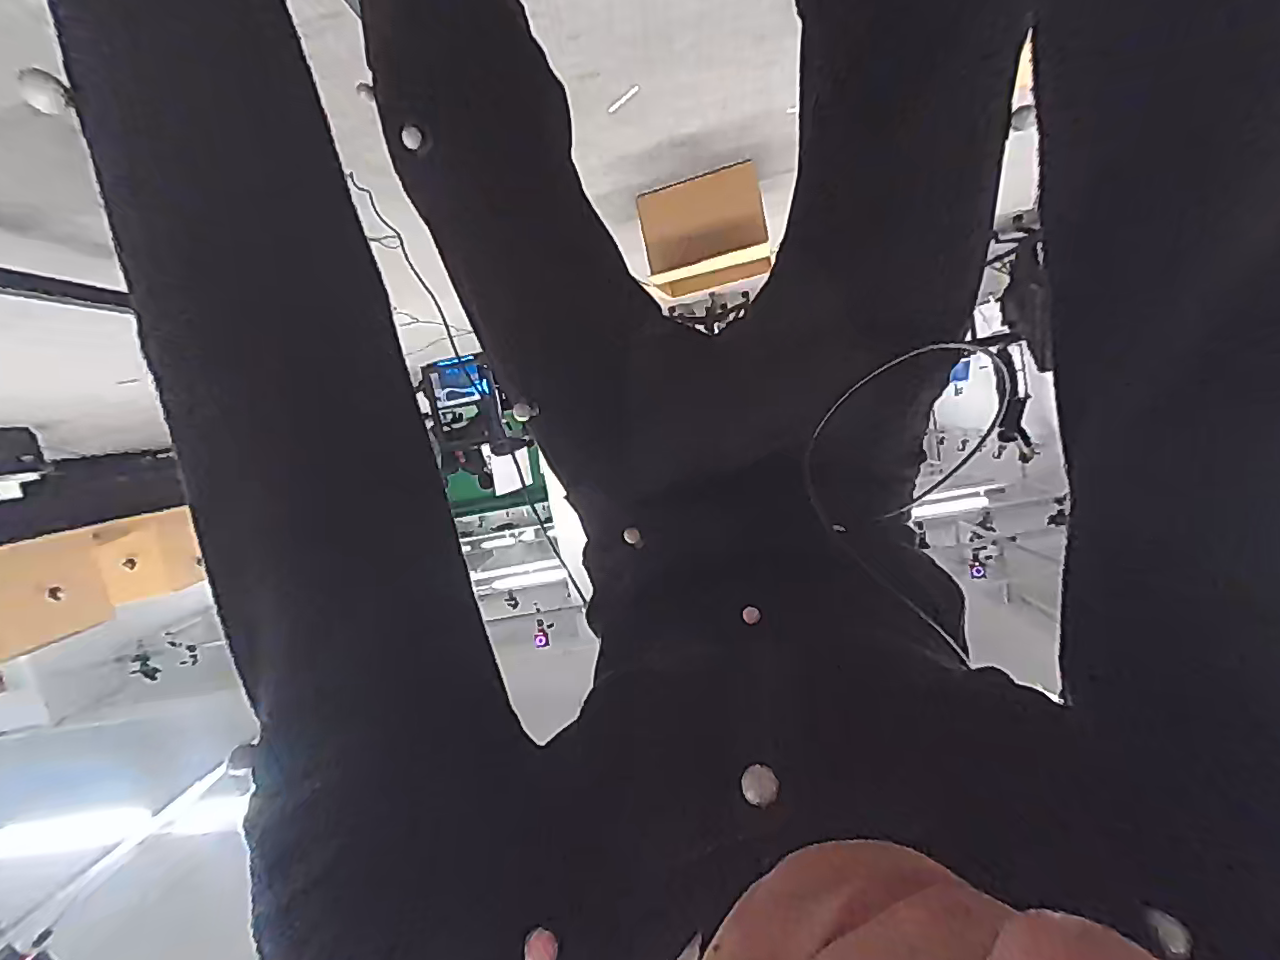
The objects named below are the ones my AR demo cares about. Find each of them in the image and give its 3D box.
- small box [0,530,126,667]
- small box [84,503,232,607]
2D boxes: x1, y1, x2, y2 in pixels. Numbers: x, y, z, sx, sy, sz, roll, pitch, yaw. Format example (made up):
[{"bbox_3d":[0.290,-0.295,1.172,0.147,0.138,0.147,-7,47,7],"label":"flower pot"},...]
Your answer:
[{"bbox_3d":[-1.002,0.192,0.861,0.168,0.176,0.179,-11,-171,4],"label":"small box"},{"bbox_3d":[-1.019,0.155,1.139,0.168,0.176,0.179,-12,-172,-7],"label":"small box"}]
